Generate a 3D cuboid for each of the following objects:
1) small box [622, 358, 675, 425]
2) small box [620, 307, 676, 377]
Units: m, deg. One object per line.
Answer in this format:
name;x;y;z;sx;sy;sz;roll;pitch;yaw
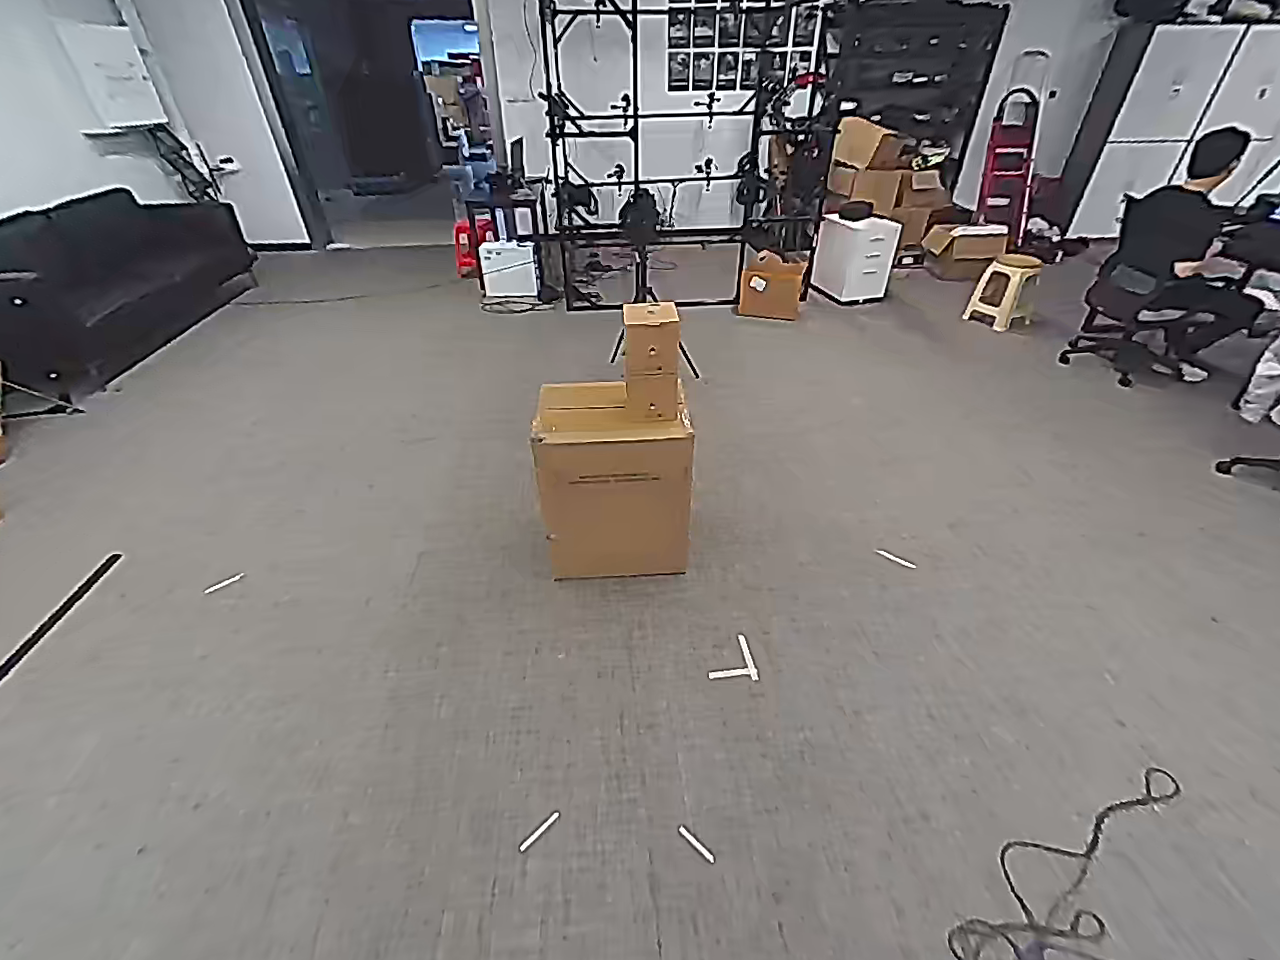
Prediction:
small box;0.025;-0.300;1.814;0.168;0.176;0.179;-4;37;-2
small box;0.024;-0.434;1.719;0.168;0.176;0.179;-3;37;-1
